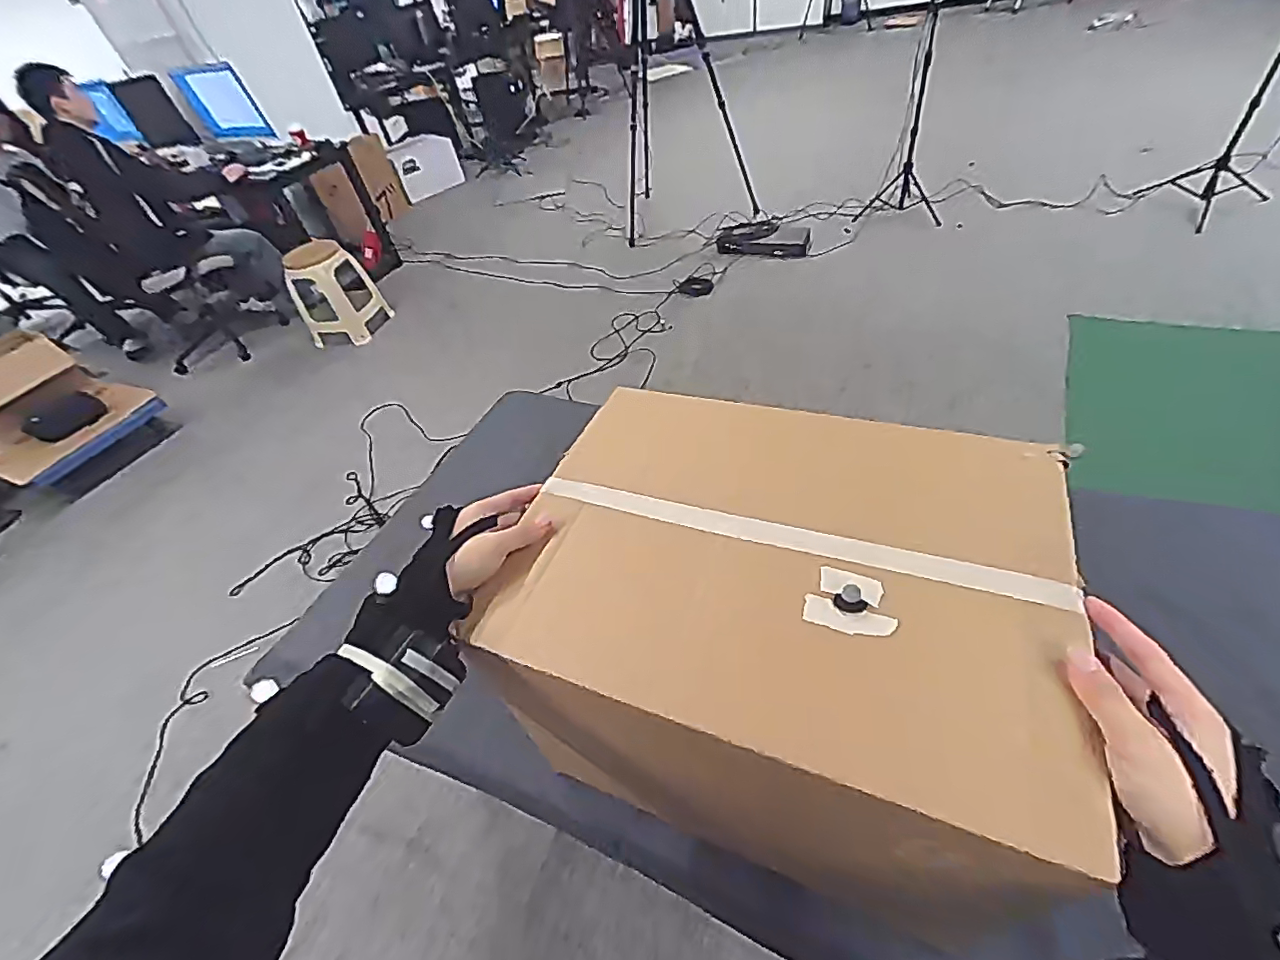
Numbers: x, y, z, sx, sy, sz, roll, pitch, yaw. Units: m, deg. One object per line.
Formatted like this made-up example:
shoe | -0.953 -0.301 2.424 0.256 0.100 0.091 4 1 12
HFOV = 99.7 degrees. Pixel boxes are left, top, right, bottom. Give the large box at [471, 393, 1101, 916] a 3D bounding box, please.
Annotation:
large box | 0.124 0.148 0.537 0.408 0.320 0.320 12 50 21
